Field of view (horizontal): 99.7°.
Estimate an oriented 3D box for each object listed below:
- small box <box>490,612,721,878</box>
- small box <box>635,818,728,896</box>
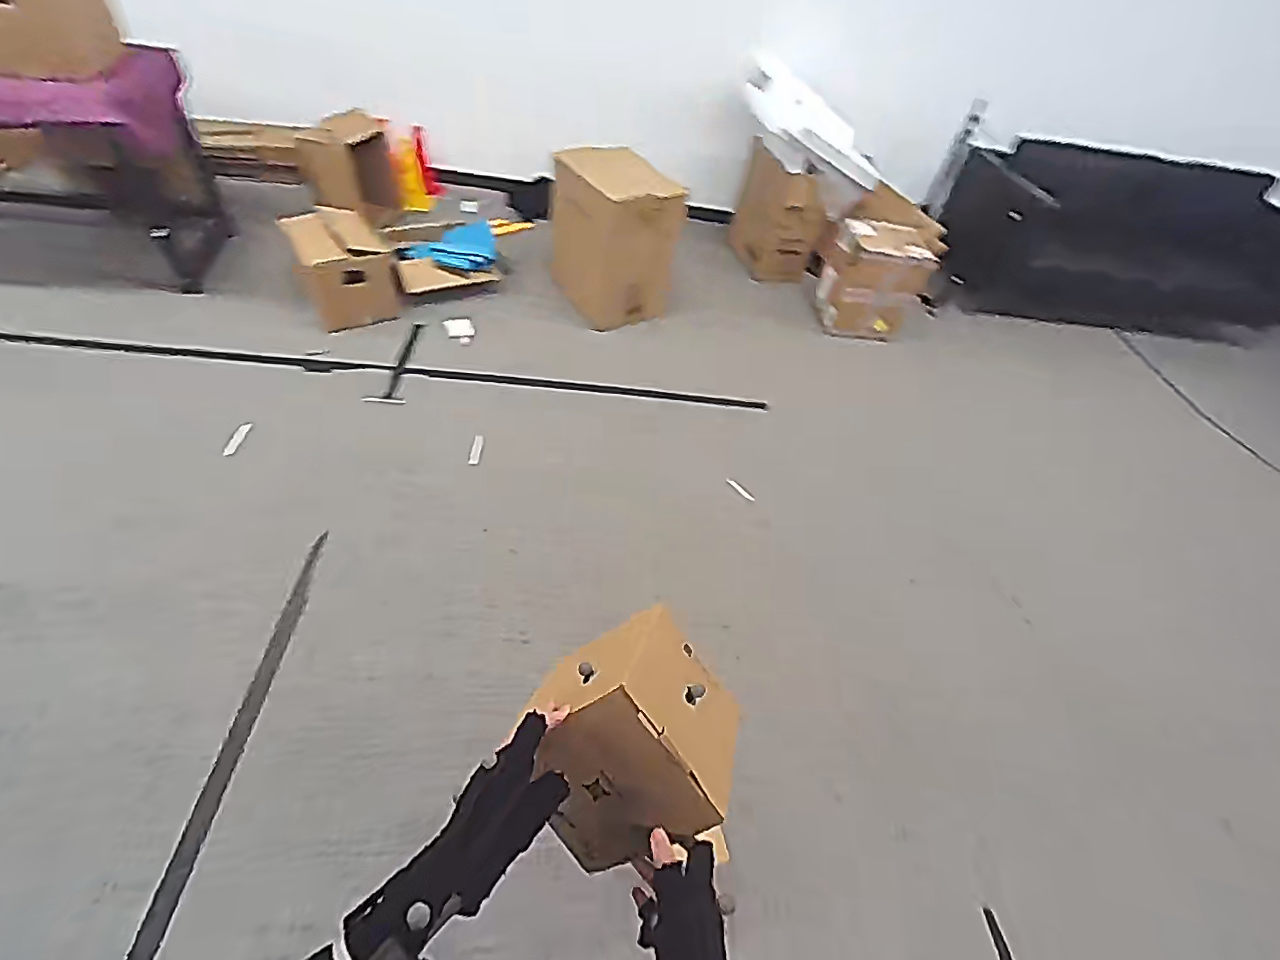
[{"bbox_3d":[-0.024,0.279,0.601,0.168,0.179,0.176,52,18,-3],"label":"small box"},{"bbox_3d":[0.080,0.829,1.242,0.168,0.176,0.179,-5,49,-17],"label":"small box"}]
